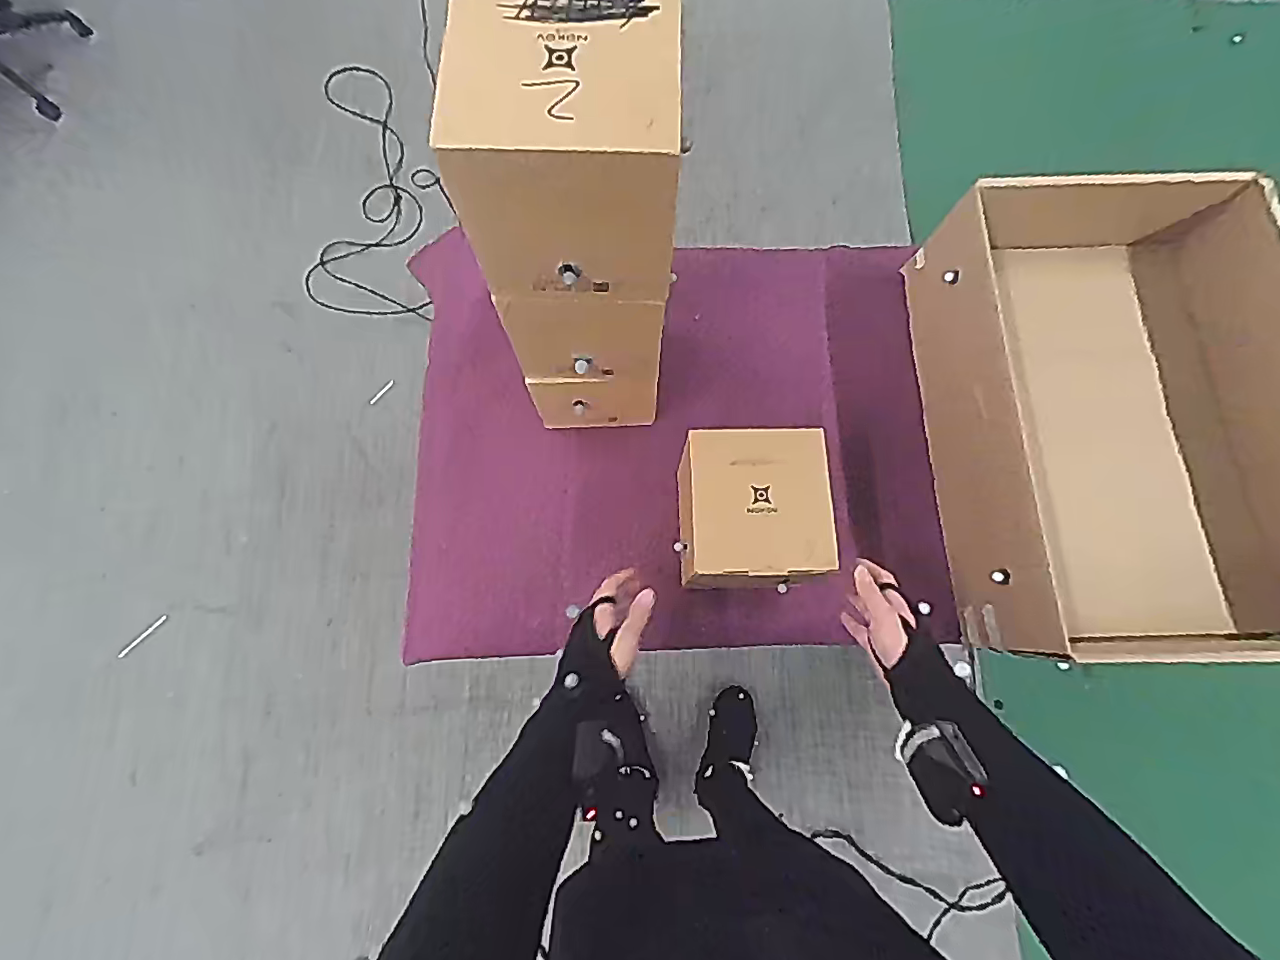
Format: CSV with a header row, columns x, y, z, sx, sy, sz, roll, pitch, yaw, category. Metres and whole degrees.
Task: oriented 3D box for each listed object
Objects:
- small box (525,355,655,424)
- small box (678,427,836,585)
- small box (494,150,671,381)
x,y,z,sx,sy,sz,roll,pitch,yaw,category
-0.063,-0.184,0.768,0.168,0.176,0.179,-2,74,-1,small box
0.139,0.042,0.704,0.168,0.176,0.179,0,73,-1,small box
-0.055,-0.231,0.611,0.168,0.176,0.179,2,75,1,small box
